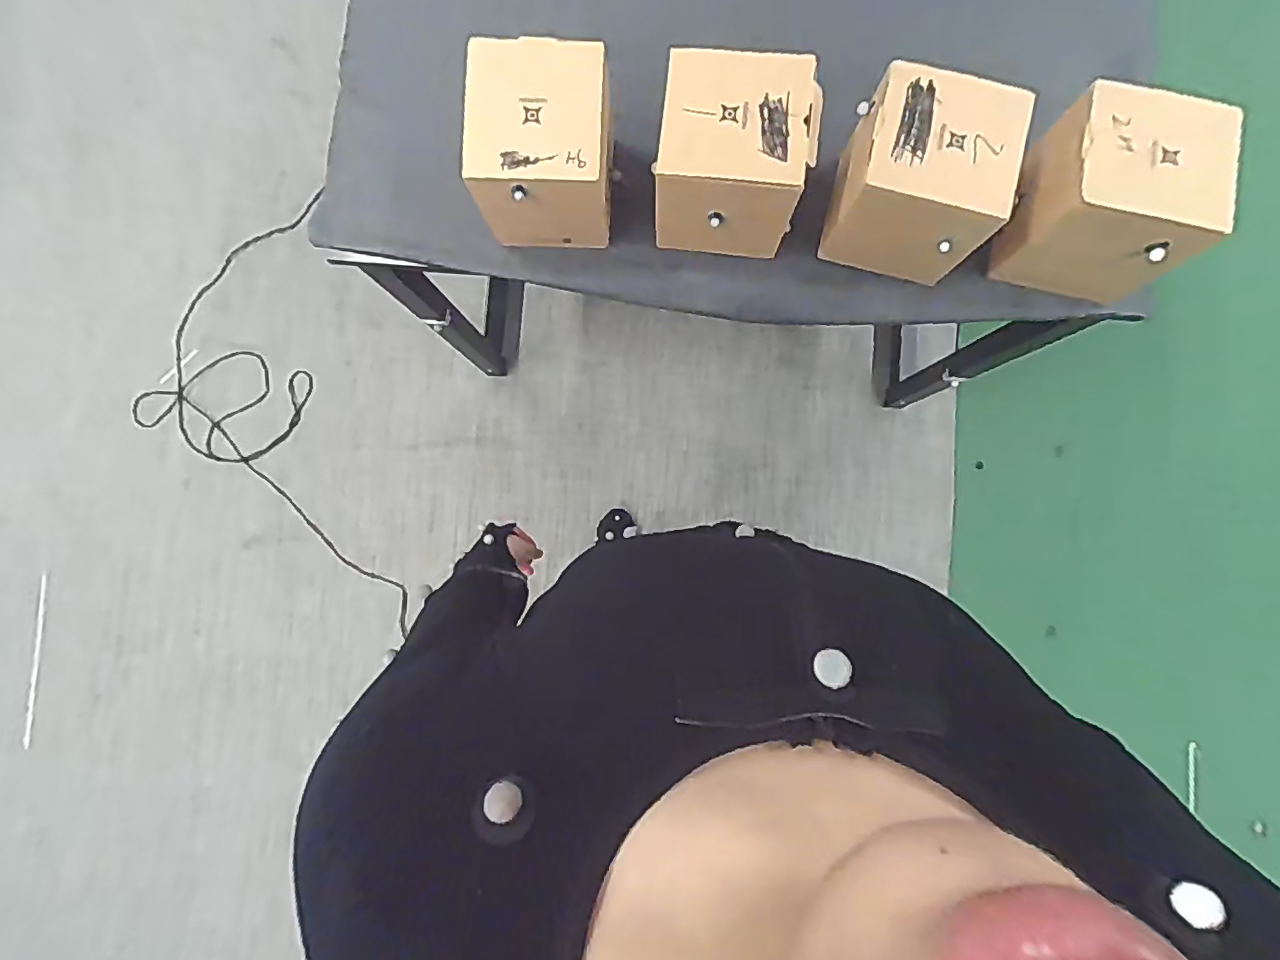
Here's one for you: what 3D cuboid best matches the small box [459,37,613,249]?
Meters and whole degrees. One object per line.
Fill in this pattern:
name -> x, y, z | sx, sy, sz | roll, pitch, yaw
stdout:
small box -> -0.126, -0.435, 0.720 | 0.168, 0.176, 0.179 | 3, 86, 2
